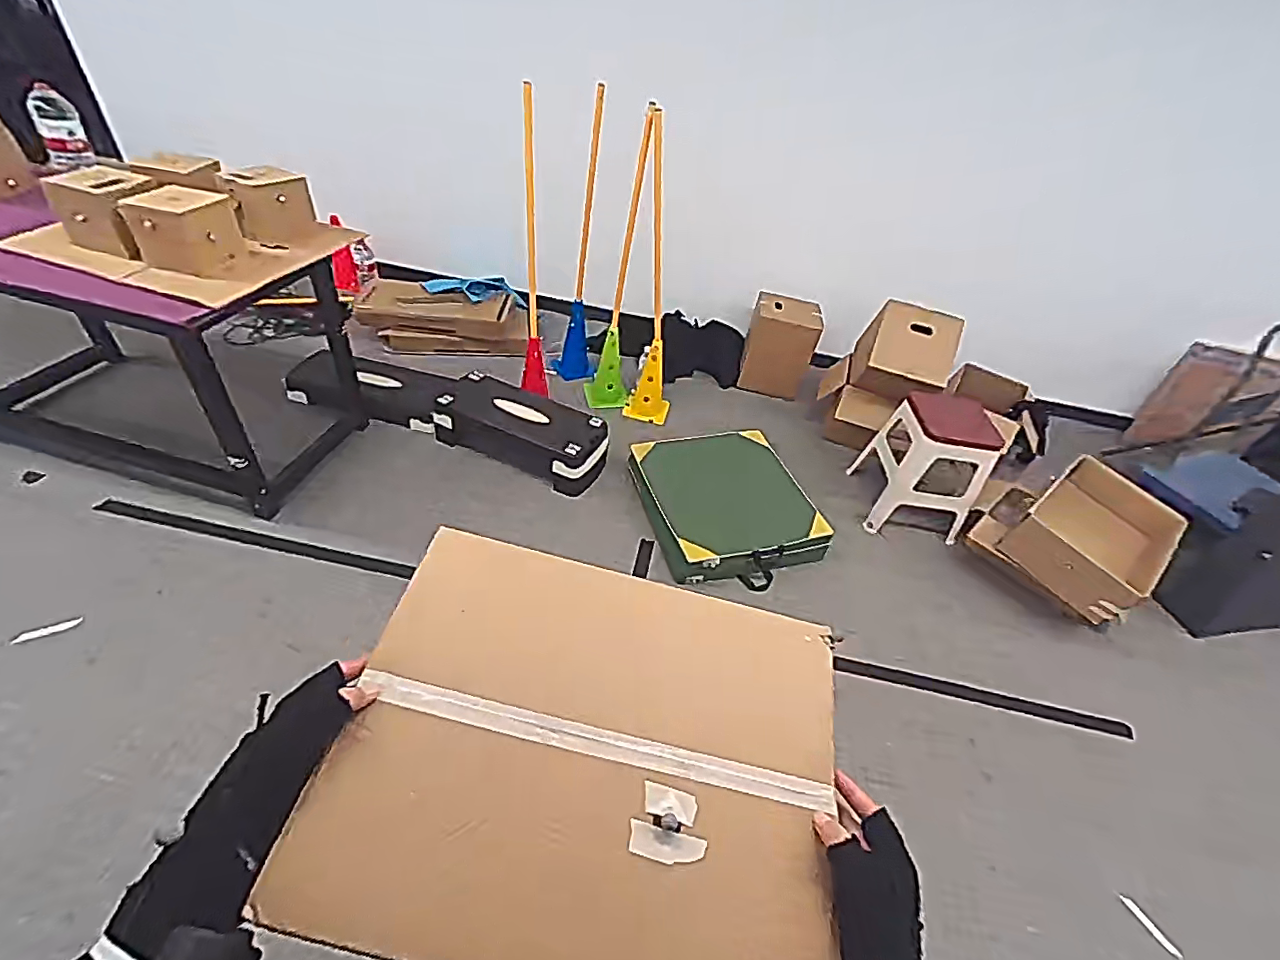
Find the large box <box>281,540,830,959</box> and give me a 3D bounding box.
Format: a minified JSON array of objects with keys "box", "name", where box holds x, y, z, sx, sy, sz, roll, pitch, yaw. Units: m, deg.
[{"box":[-0.057,0.312,0.582,0.408,0.320,0.320,15,52,-1],"name":"large box"}]
